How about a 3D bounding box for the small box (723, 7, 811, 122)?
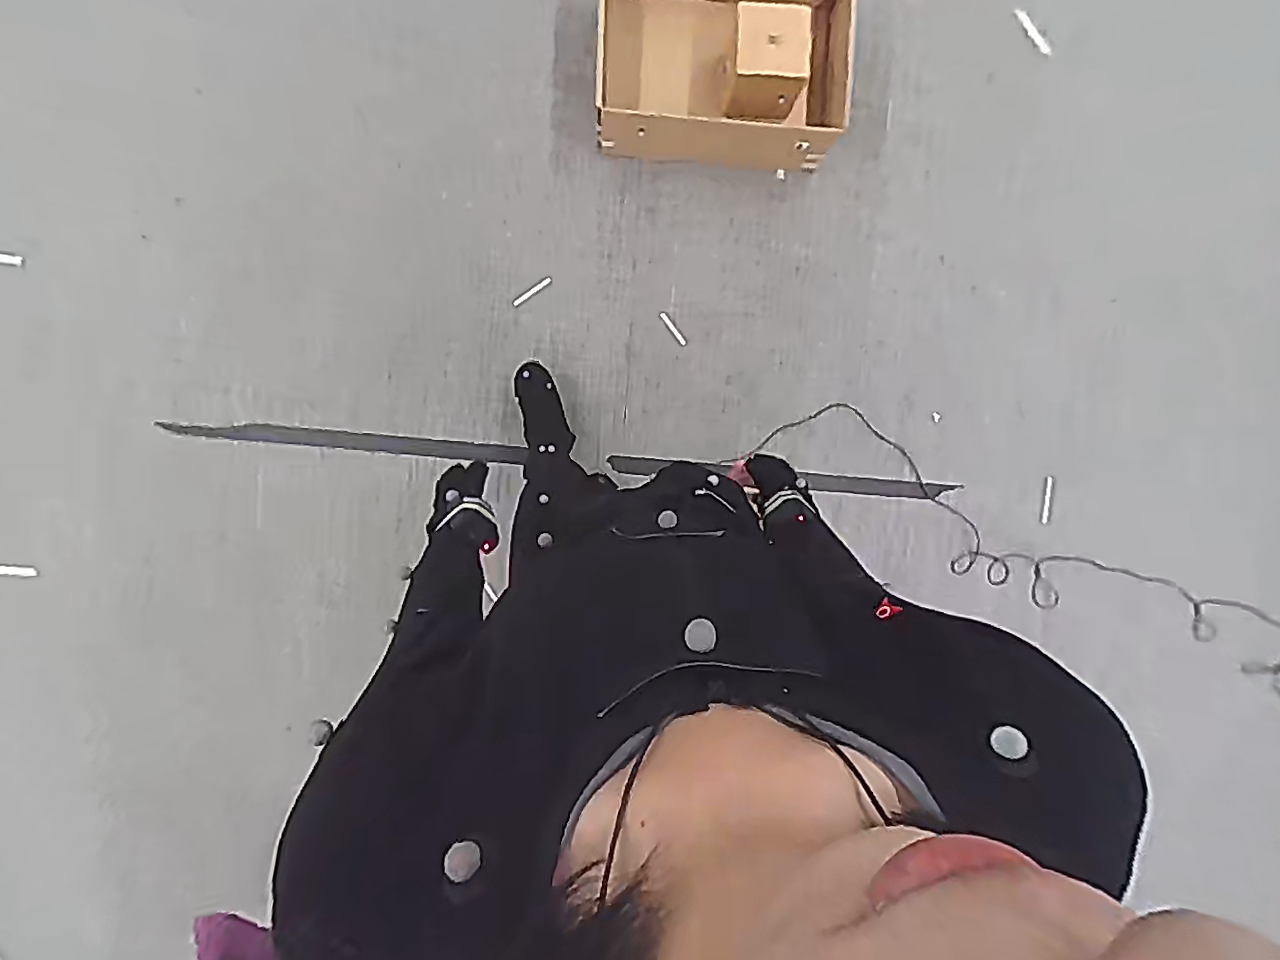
[{"bbox_3d":[0.313,-1.031,1.354,0.179,0.176,0.168,0,93,-2],"label":"small box"}]
